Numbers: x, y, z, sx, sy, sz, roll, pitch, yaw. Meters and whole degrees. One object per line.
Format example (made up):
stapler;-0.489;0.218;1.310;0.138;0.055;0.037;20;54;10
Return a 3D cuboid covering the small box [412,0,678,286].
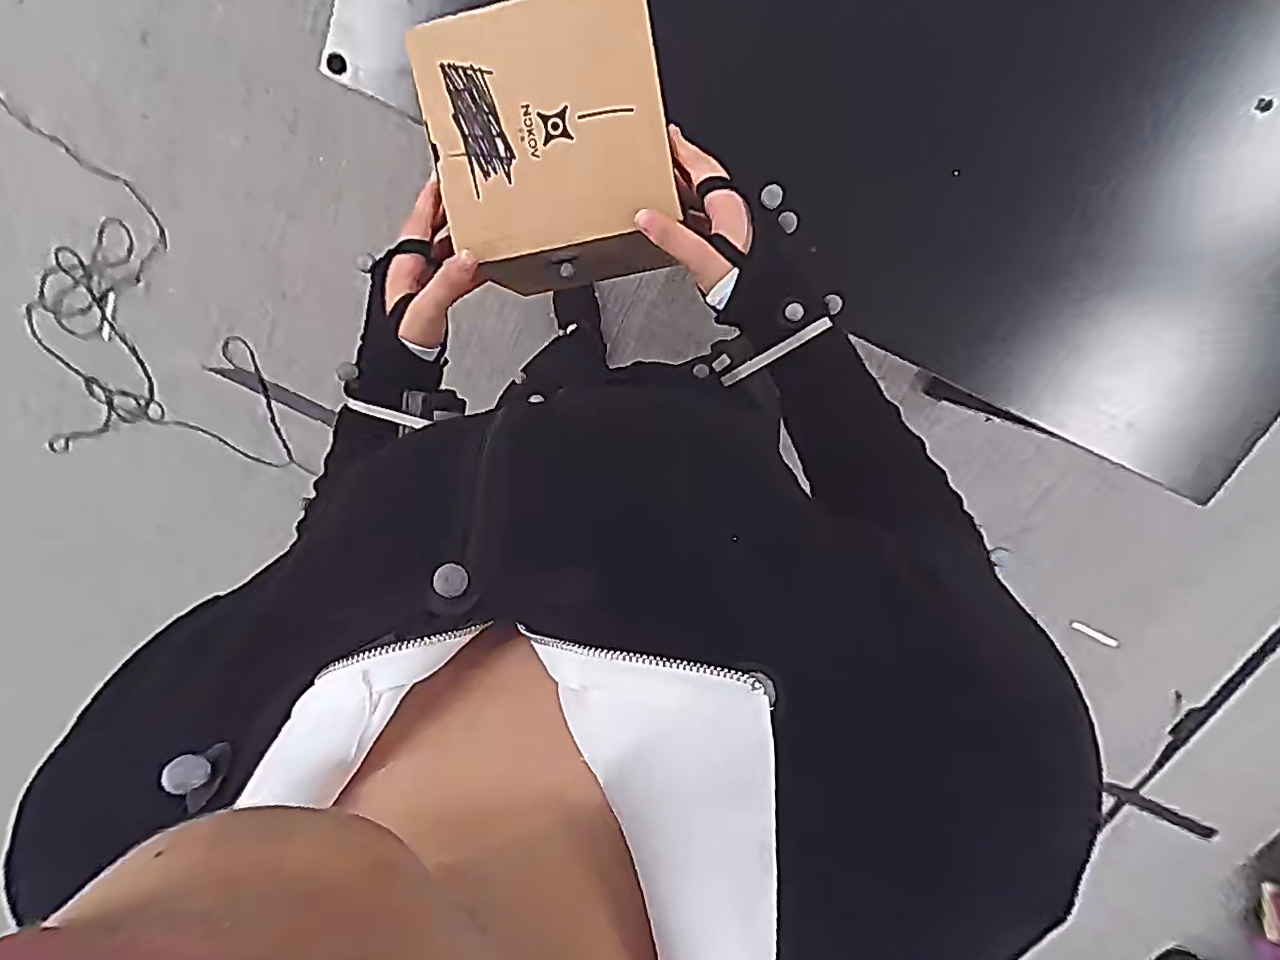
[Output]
small box;-0.064;-0.280;0.477;0.179;0.176;0.168;-8;100;6
